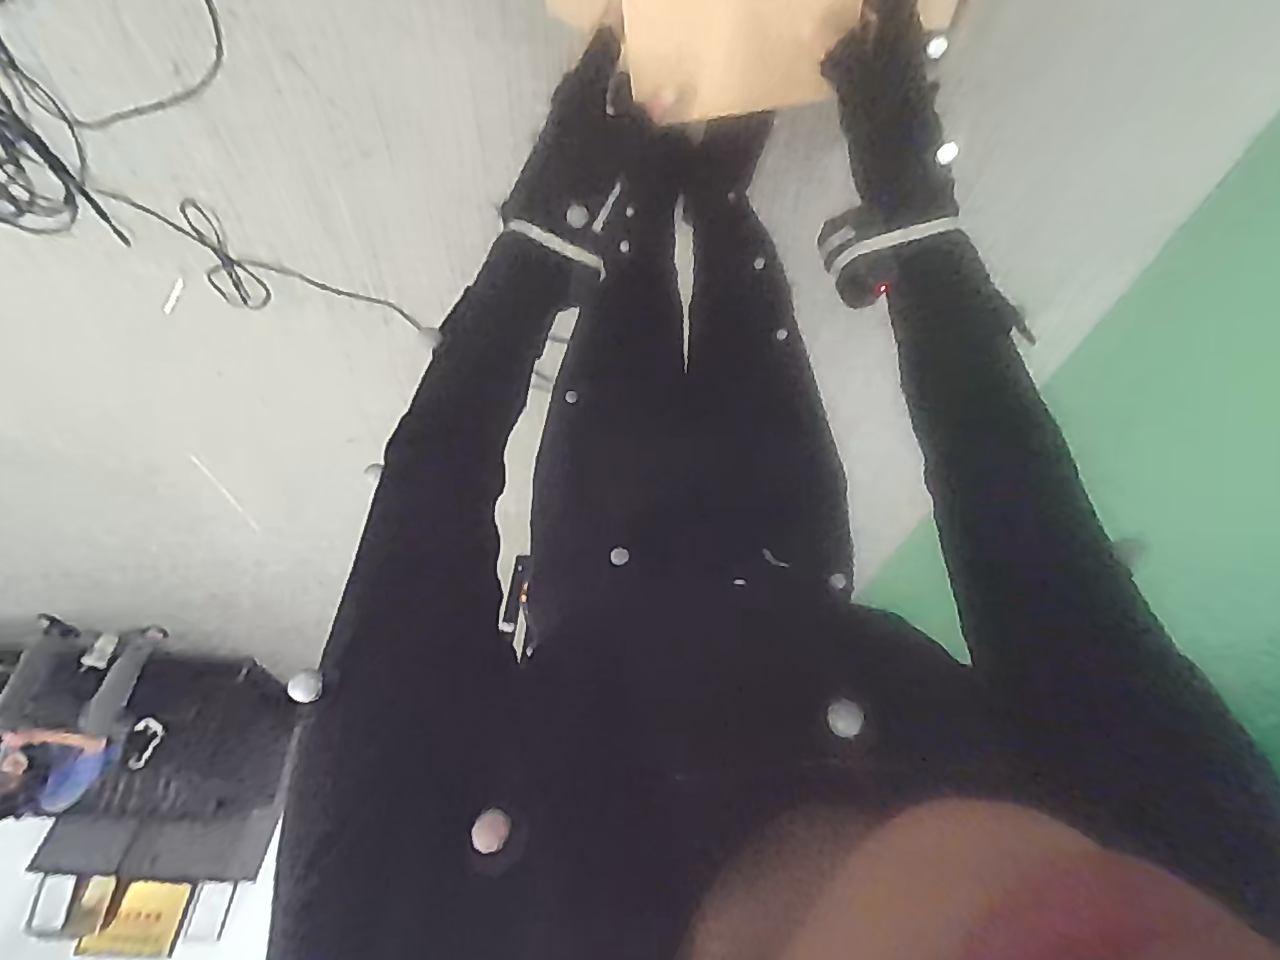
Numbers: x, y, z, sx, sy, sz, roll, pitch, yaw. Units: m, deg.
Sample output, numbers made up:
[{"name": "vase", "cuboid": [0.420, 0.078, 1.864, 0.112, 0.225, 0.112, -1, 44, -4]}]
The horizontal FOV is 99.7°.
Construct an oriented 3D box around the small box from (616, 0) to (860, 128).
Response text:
[{"name": "small box", "cuboid": [0.066, -0.397, 0.401, 0.168, 0.176, 0.179, -5, 138, 7]}]
